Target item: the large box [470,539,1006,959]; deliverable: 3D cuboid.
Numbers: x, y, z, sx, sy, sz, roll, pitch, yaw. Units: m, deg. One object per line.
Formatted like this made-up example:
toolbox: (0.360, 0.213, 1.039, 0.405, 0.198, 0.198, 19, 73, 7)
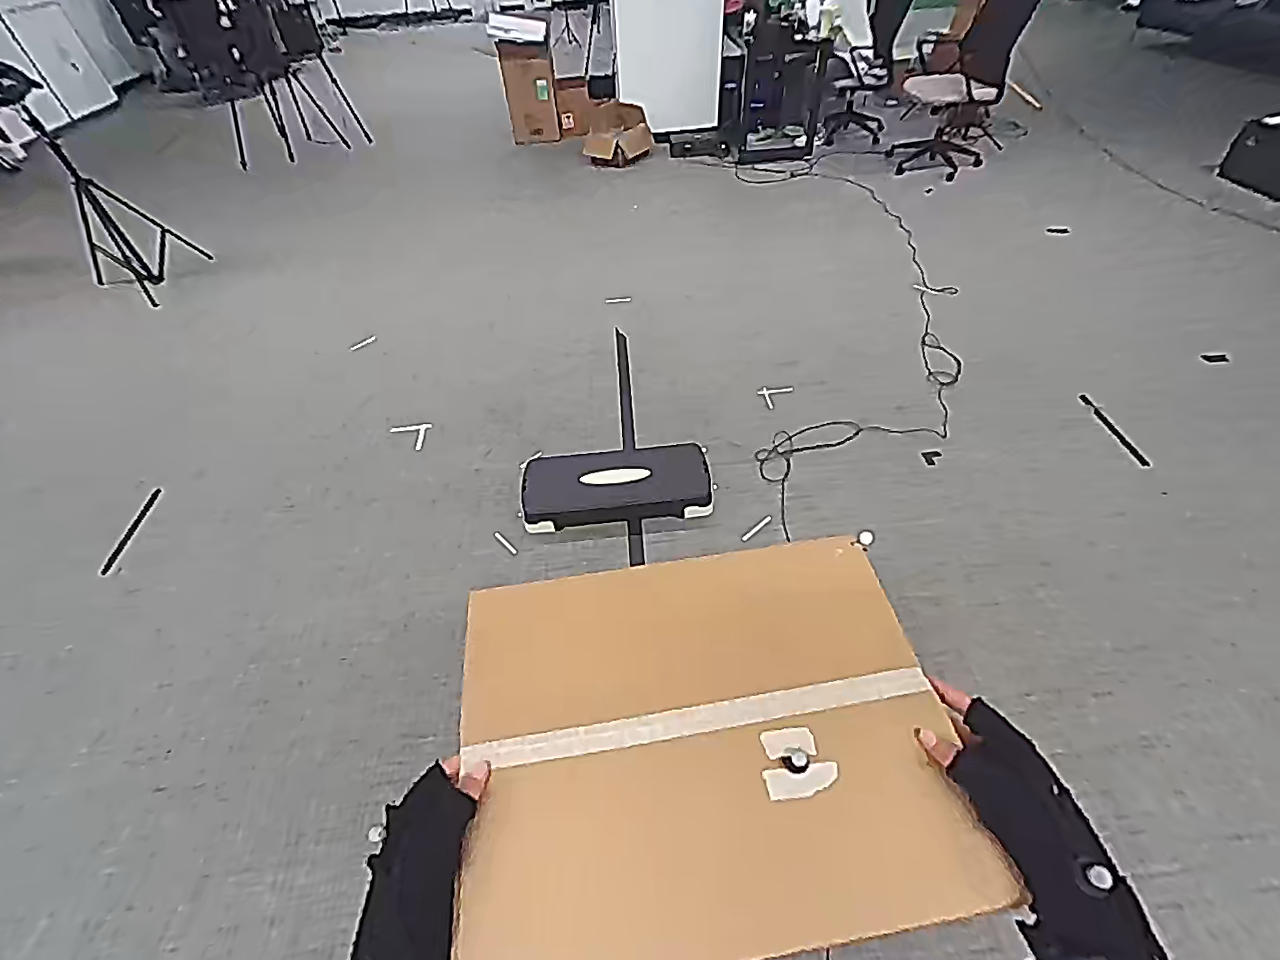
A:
large box: (0.056, 0.303, 0.588, 0.408, 0.320, 0.320, -8, 52, -5)
